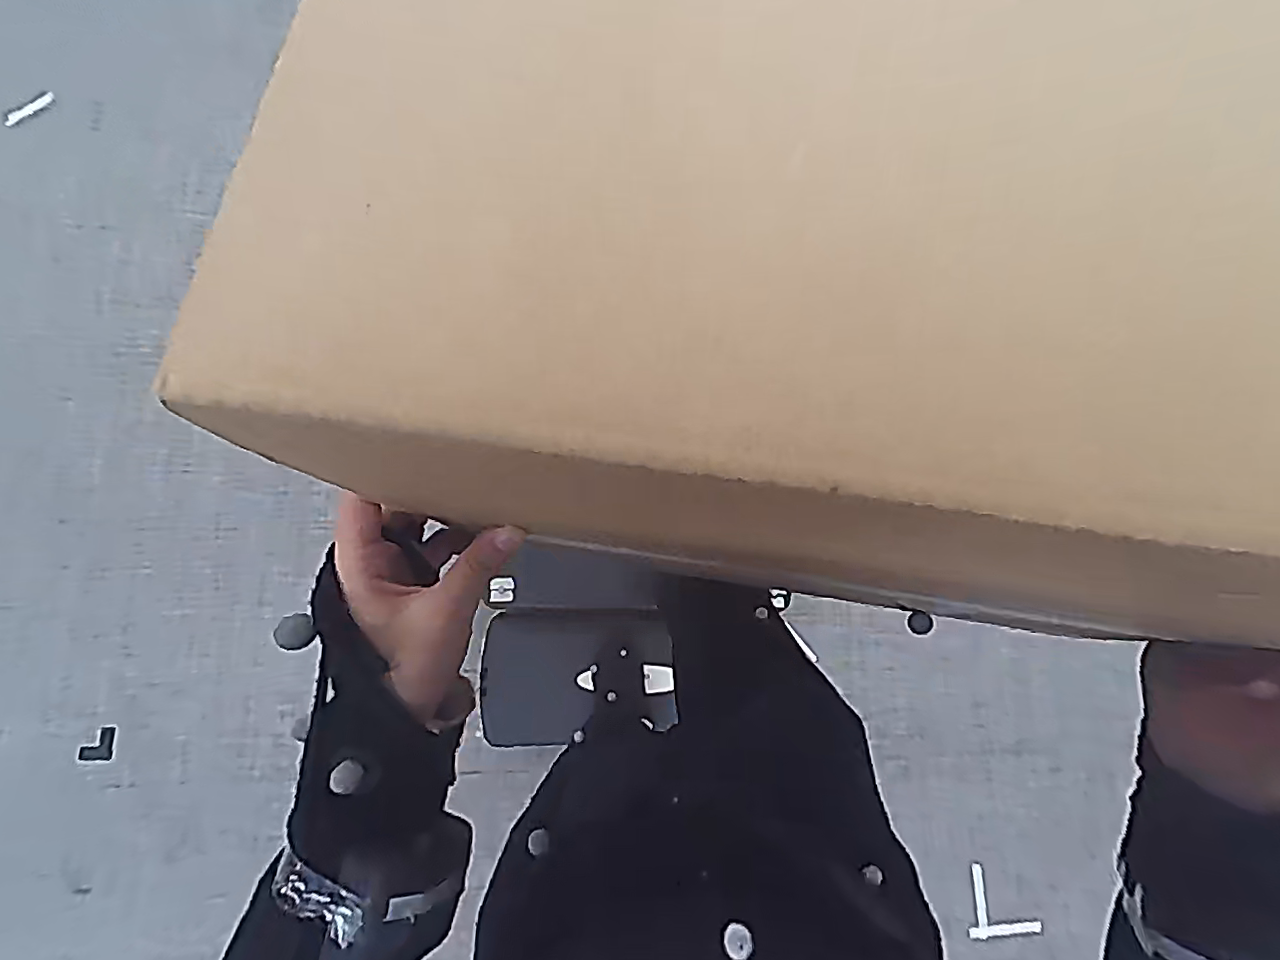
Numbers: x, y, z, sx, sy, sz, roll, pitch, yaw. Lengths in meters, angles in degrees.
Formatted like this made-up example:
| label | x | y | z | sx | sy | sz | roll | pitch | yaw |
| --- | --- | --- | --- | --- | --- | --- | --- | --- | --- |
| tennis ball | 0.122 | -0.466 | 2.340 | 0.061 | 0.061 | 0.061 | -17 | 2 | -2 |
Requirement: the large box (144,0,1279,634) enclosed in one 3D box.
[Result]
| label | x | y | z | sx | sy | sz | roll | pitch | yaw |
| --- | --- | --- | --- | --- | --- | --- | --- | --- | --- |
| large box | 0.098 | -0.107 | 0.290 | 0.408 | 0.320 | 0.320 | 7 | 78 | 4 |

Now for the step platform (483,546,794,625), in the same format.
| label | x | y | z | sx | sy | sz | roll | pitch | yaw |
| --- | --- | --- | --- | --- | --- | --- | --- | --- | --- |
| step platform | 0.001 | 0.149 | 1.215 | 0.684 | 0.204 | 0.286 | 6 | 82 | -4 |
